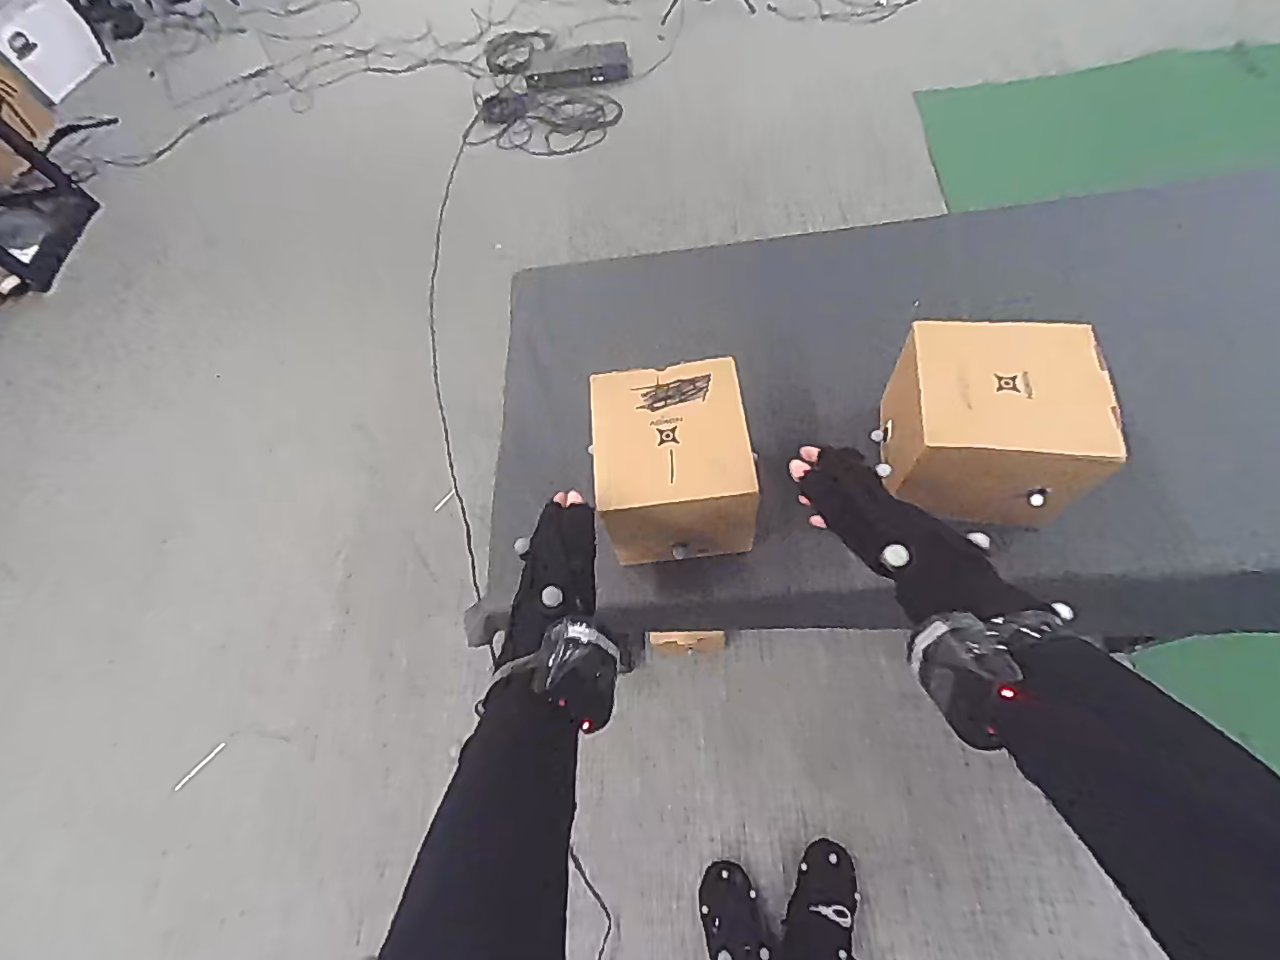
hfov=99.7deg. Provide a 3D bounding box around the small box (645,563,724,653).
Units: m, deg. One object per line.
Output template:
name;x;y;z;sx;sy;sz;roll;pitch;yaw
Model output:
small box;0.109;0.313;1.298;0.168;0.176;0.179;-7;63;5

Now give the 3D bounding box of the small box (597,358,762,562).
small box;0.044;-0.017;0.648;0.168;0.176;0.179;-7;62;5

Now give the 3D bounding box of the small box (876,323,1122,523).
small box;0.387;-0.059;0.623;0.179;0.176;0.168;3;62;11
